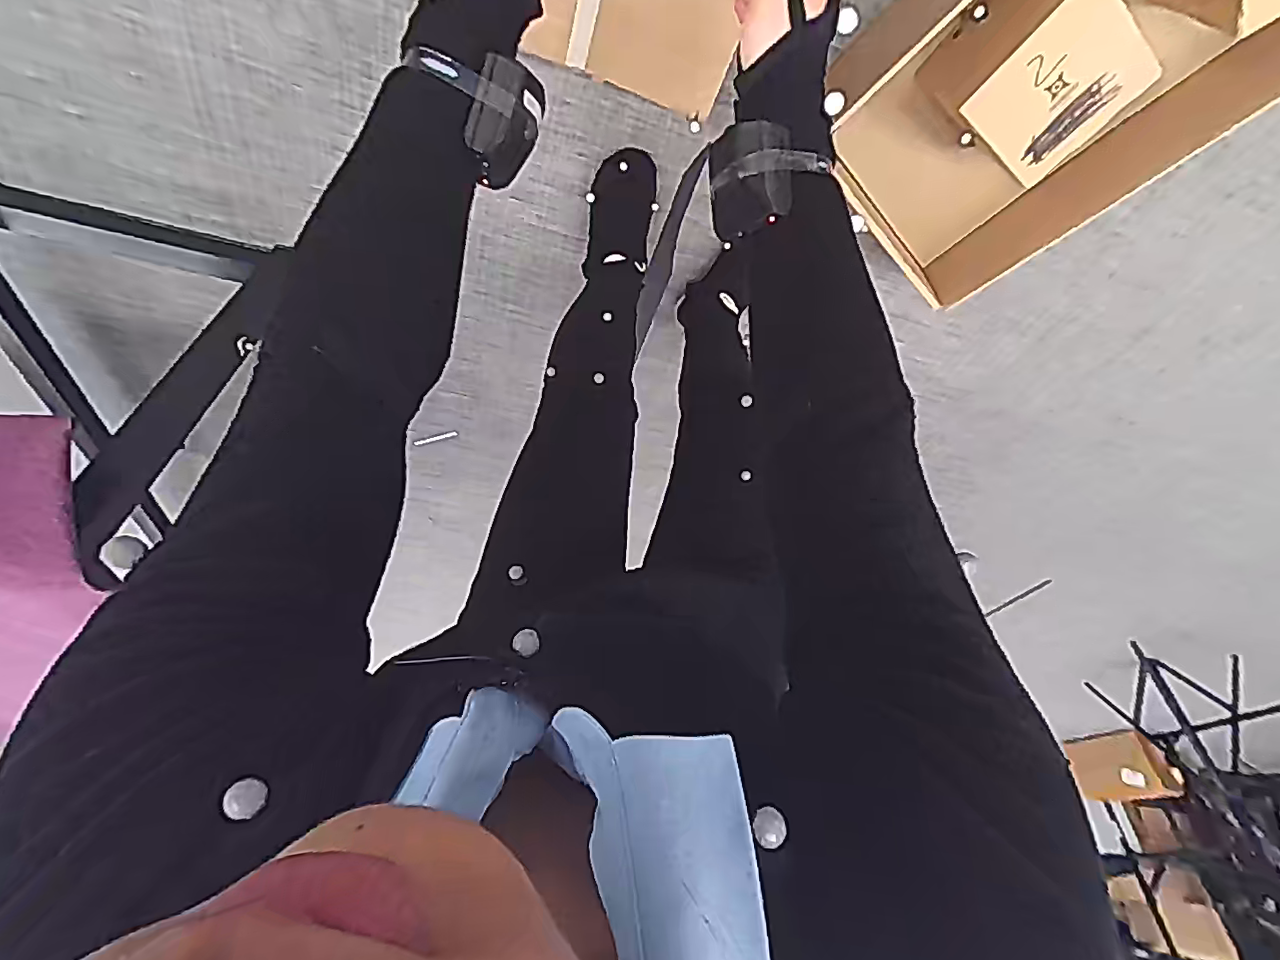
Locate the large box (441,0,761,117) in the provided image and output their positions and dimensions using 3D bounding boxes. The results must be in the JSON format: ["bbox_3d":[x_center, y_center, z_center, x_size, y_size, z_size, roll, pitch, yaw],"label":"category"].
[{"bbox_3d":[0.007,-0.679,0.525,0.320,0.320,0.408,14,140,-14],"label":"large box"}]
